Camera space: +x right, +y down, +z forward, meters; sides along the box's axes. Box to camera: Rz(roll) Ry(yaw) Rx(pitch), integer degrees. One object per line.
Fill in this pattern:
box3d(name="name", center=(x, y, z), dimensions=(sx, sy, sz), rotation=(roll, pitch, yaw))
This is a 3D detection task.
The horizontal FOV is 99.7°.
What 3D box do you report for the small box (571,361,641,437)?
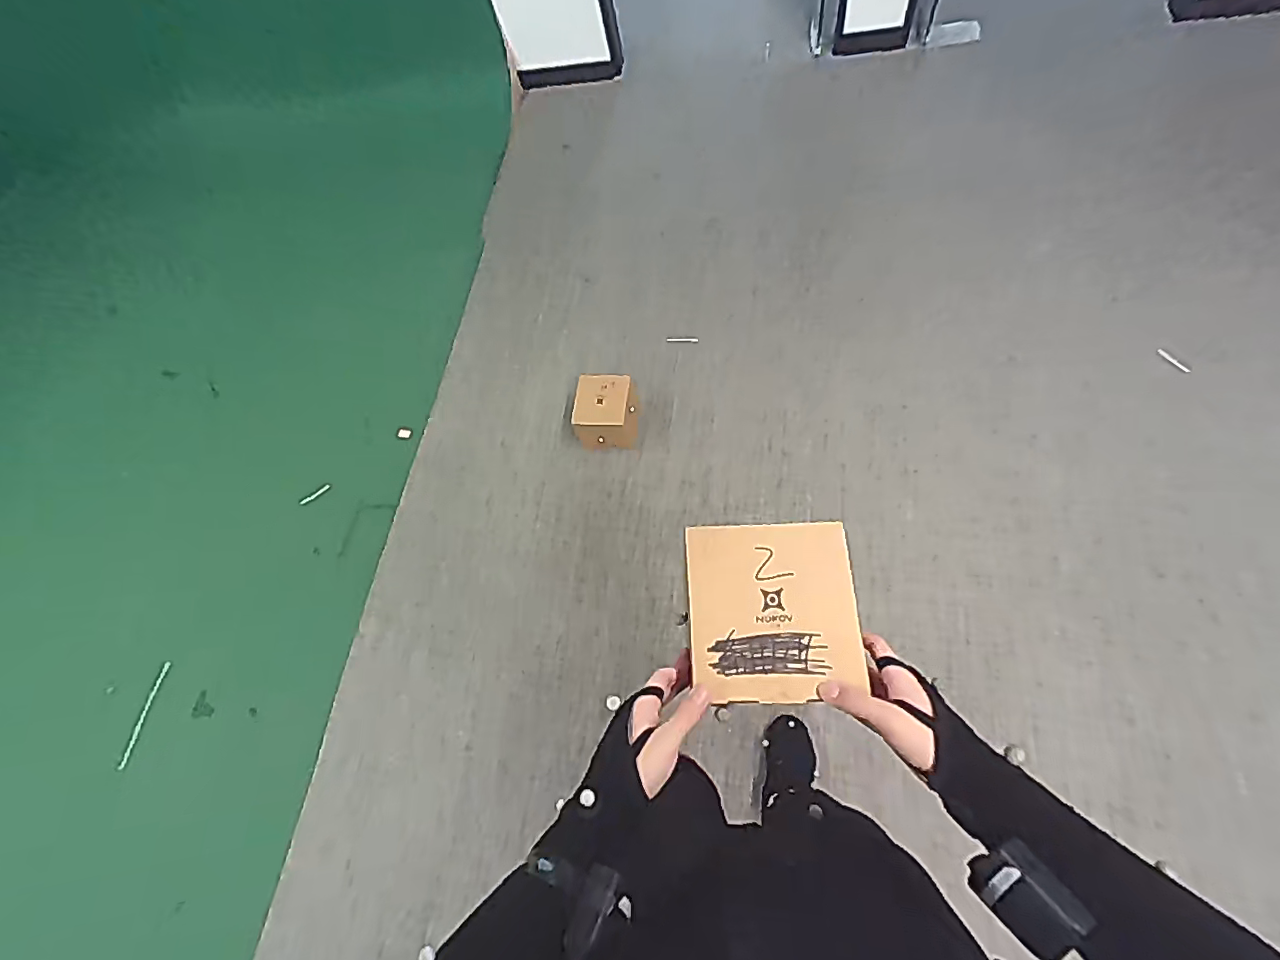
box3d(name="small box", center=(-0.099, -0.249, 1.692), dimensions=(0.168, 0.176, 0.179), rotation=(6, 69, 12))
